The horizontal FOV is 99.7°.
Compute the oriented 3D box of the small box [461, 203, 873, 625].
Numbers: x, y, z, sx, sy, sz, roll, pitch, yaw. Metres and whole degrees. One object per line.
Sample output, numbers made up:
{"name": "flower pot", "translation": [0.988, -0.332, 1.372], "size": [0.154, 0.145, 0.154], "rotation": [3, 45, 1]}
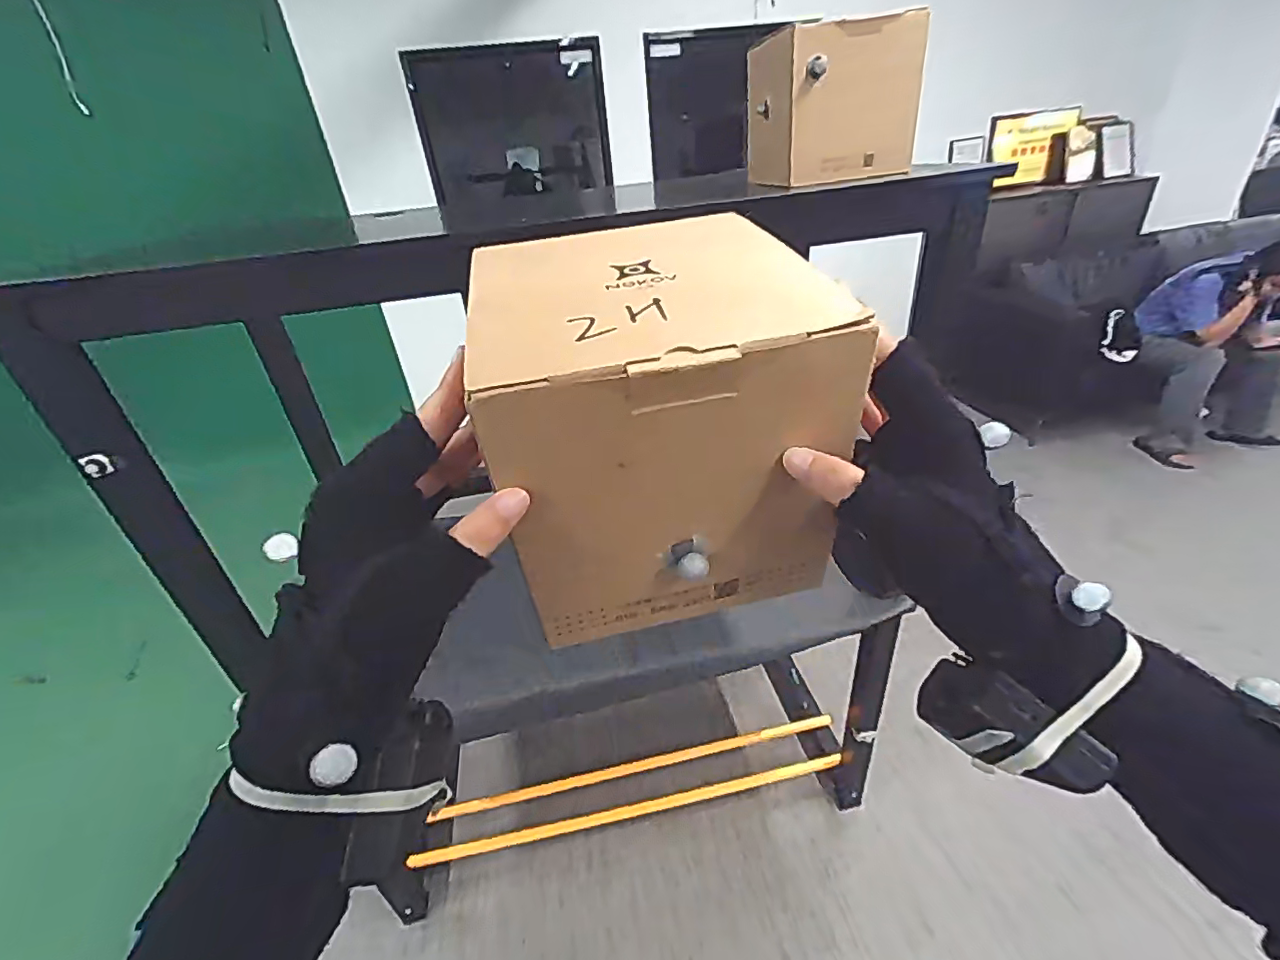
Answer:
{"name": "small box", "translation": [0.004, -0.045, 0.321], "size": [0.168, 0.176, 0.179], "rotation": [-12, 41, -6]}
